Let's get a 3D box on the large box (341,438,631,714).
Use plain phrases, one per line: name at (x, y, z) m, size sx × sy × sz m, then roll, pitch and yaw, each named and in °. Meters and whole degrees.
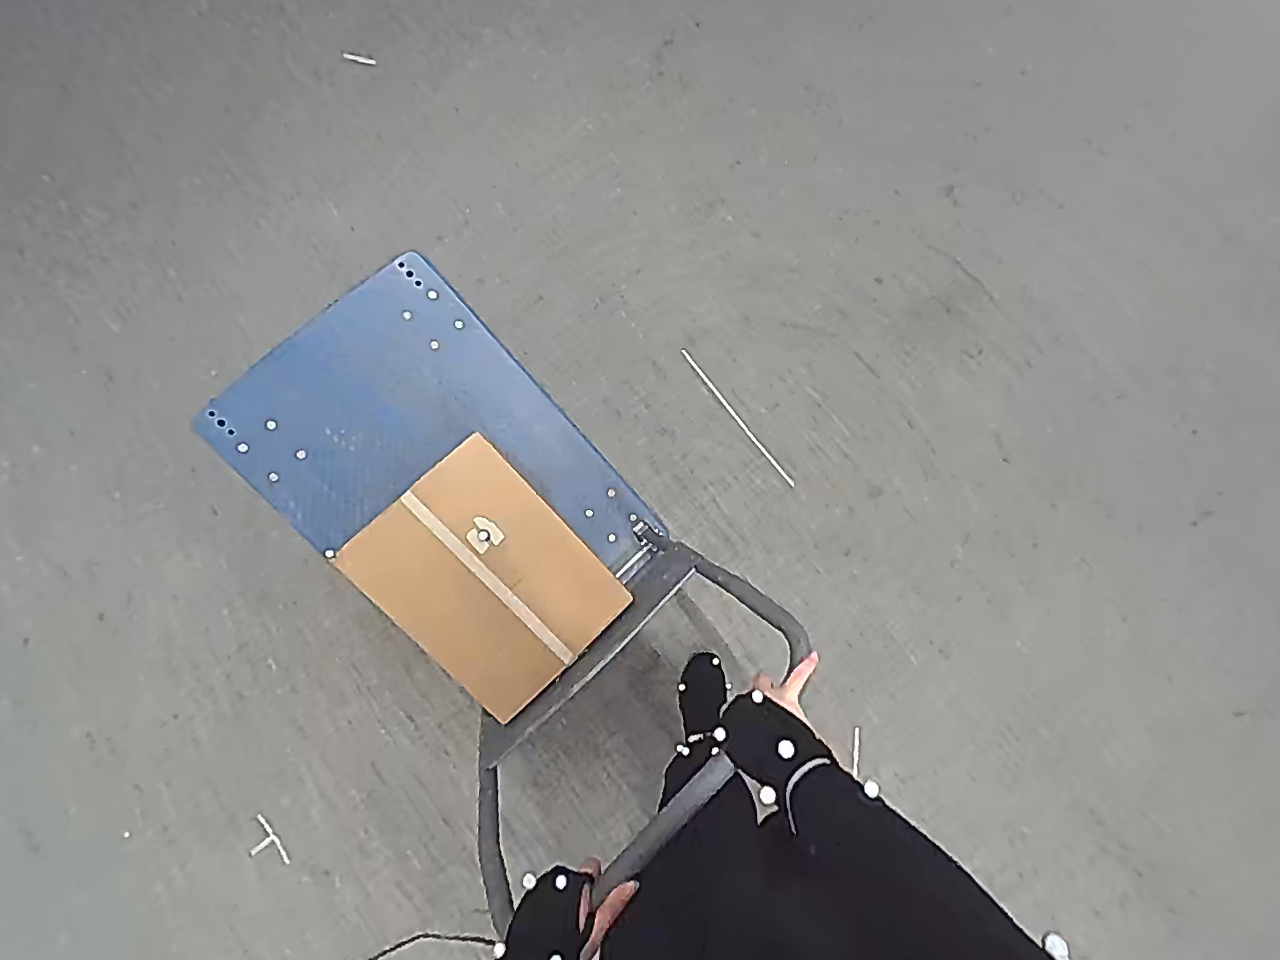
large box at (-0.282, 0.167, 1.084) m, size 0.320 × 0.320 × 0.408 m, roll -44°, pitch 99°, yaw -9°
